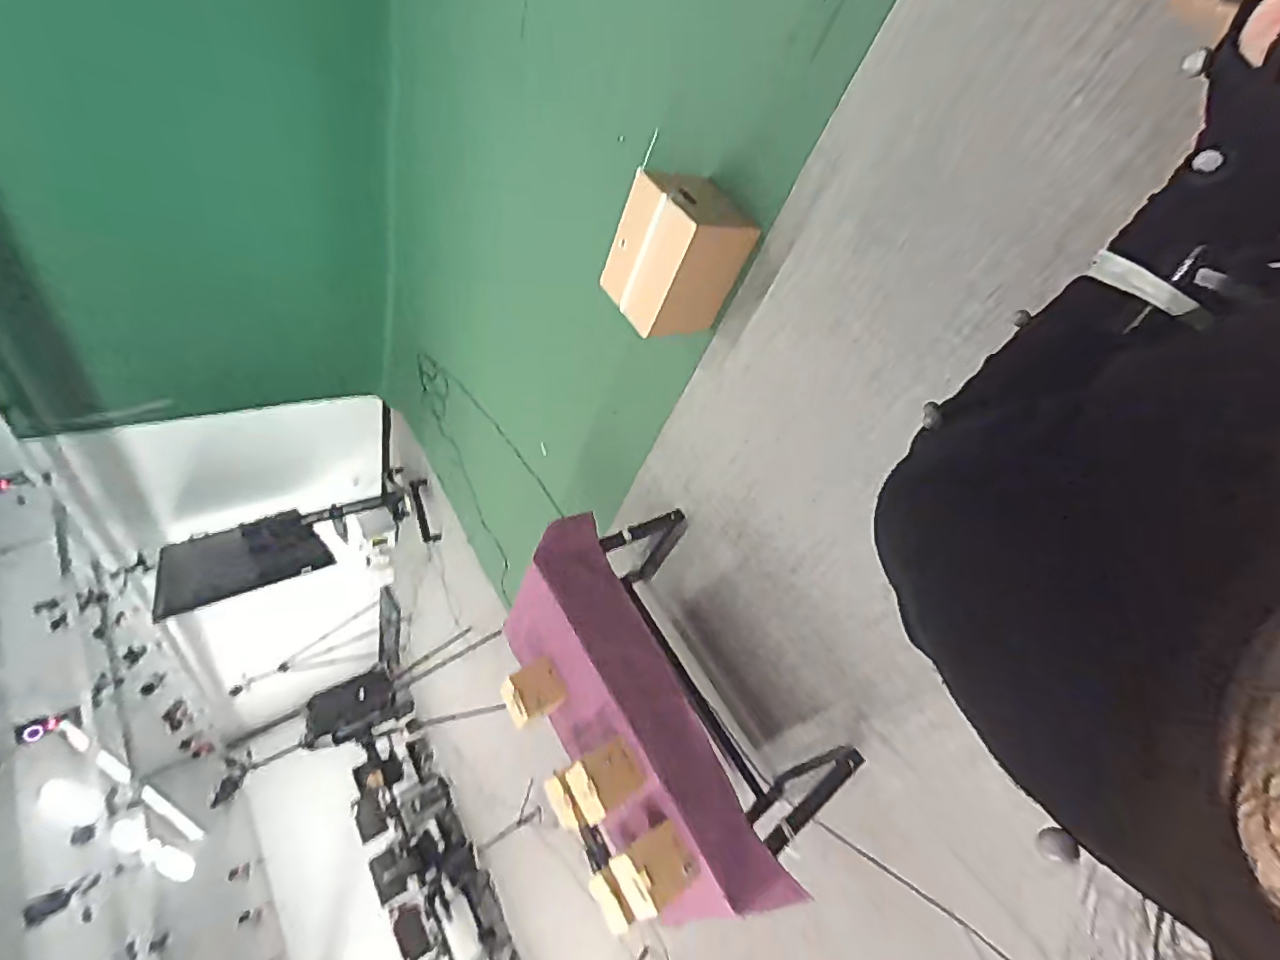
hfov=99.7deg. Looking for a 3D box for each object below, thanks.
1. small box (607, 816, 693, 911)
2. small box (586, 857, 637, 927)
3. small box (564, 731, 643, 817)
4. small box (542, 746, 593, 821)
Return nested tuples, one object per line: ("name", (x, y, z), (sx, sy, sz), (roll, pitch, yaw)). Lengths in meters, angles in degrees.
("small box", (0.034, 1.132, 1.604), (0.168, 0.176, 0.179), (54, 141, 24))
("small box", (-0.050, 1.324, 1.788), (0.168, 0.176, 0.179), (52, 138, 27))
("small box", (-0.112, 0.928, 1.715), (0.168, 0.176, 0.179), (55, 141, 24))
("small box", (-0.217, 1.068, 1.904), (0.168, 0.176, 0.179), (59, 141, 17))
